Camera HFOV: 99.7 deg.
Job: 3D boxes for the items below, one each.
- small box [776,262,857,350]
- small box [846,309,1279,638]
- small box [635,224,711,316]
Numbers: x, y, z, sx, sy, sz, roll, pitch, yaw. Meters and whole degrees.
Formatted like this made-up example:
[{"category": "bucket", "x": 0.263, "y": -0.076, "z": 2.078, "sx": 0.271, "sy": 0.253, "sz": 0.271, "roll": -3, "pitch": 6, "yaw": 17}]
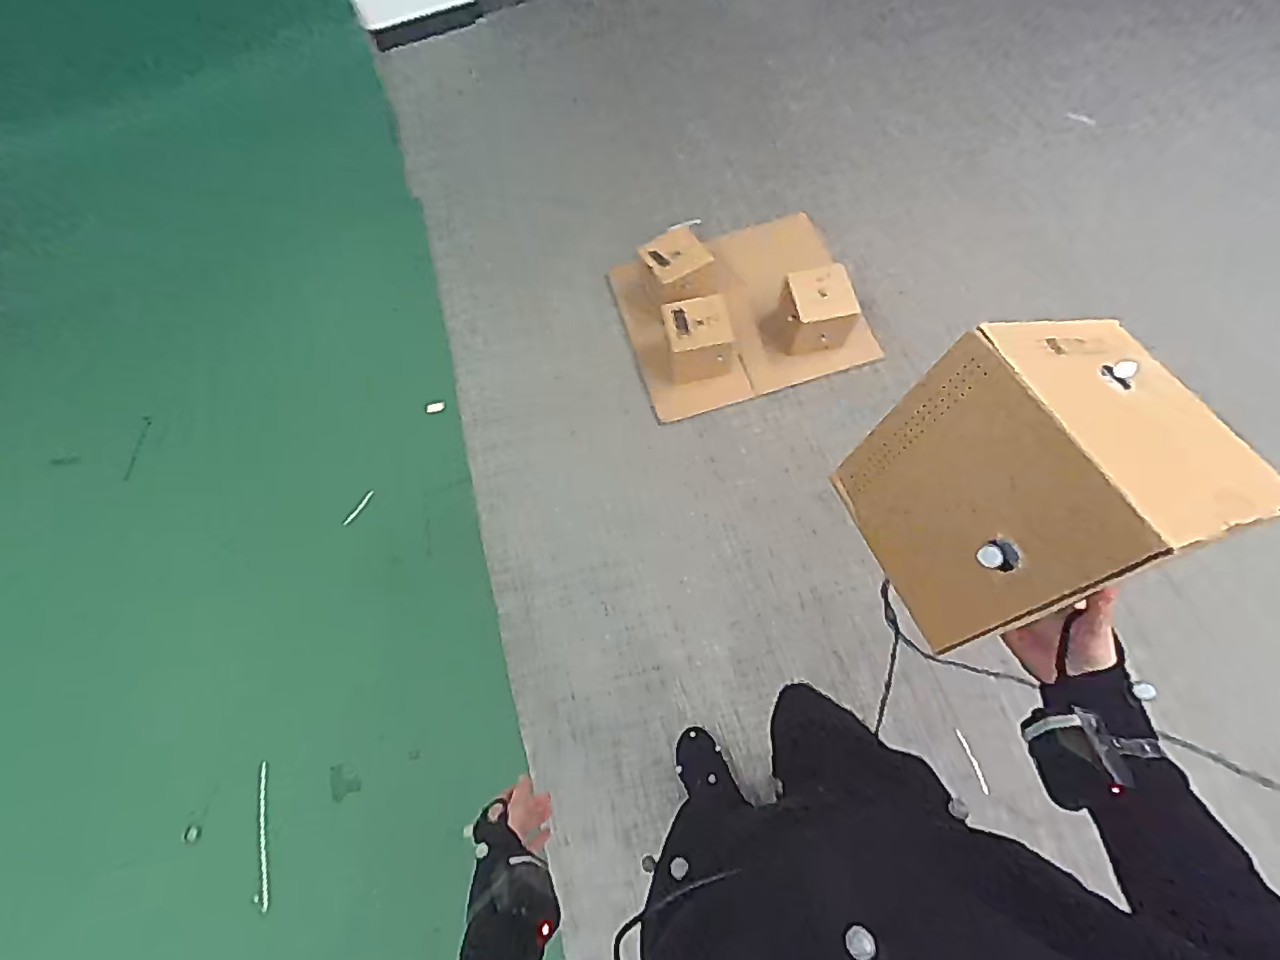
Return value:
[{"category": "small box", "x": 0.505, "y": -0.496, "z": 1.571, "sx": 0.168, "sy": 0.176, "sz": 0.179, "roll": -10, "pitch": 69, "yaw": 0}, {"category": "small box", "x": 0.288, "y": -0.003, "z": 0.410, "sx": 0.168, "sy": 0.179, "sz": 0.176, "roll": -7, "pitch": 58, "yaw": -23}, {"category": "small box", "x": 0.103, "y": -0.640, "z": 1.665, "sx": 0.179, "sy": 0.176, "sz": 0.168, "roll": -30, "pitch": 70, "yaw": -8}]
